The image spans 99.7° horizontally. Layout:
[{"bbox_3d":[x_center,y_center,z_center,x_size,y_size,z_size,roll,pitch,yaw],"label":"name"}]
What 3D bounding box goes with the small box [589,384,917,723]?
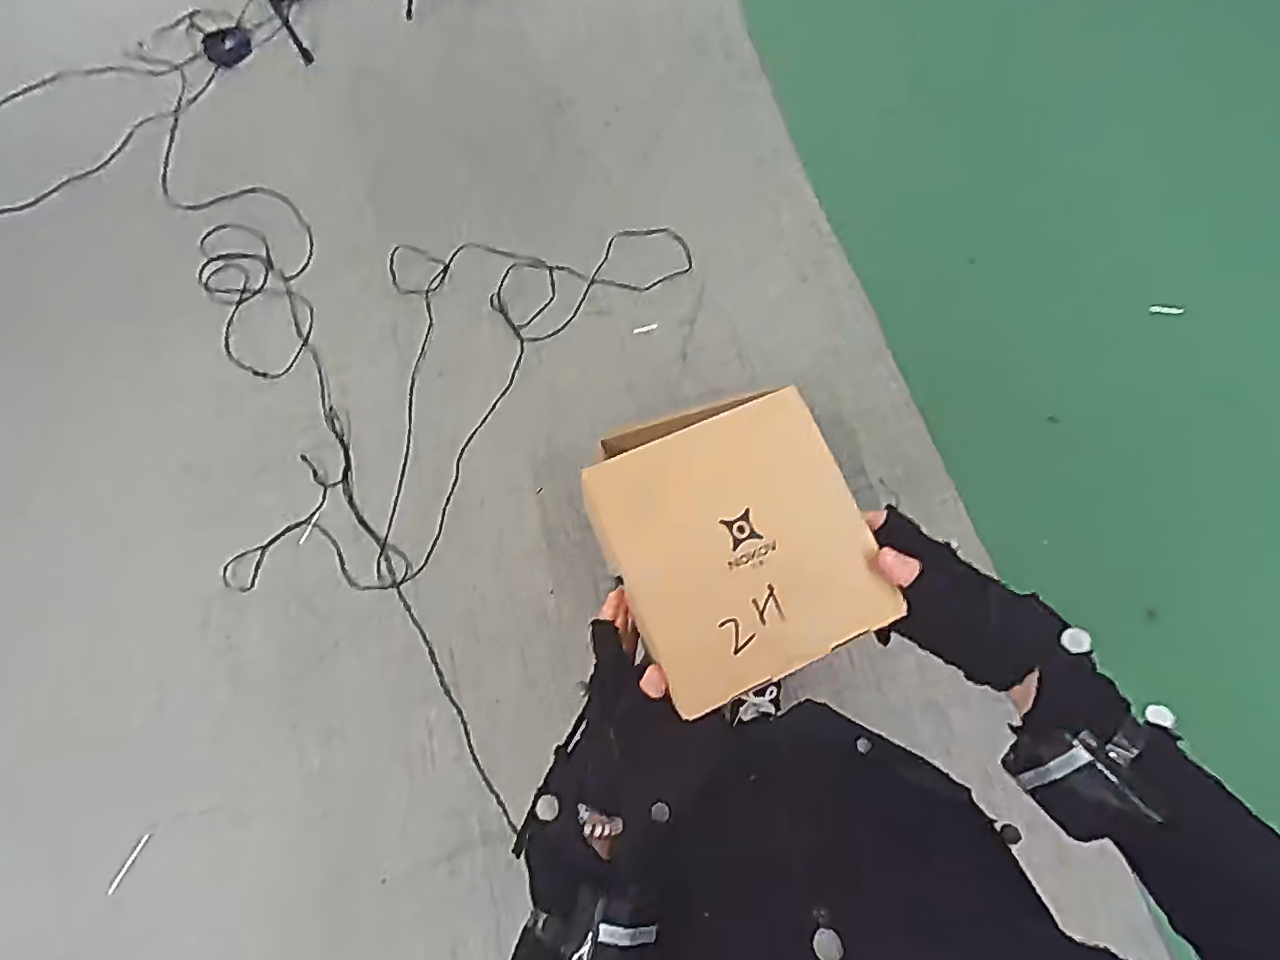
[{"bbox_3d":[0.065,0.055,0.425,0.168,0.176,0.179,-22,83,-8],"label":"small box"}]
